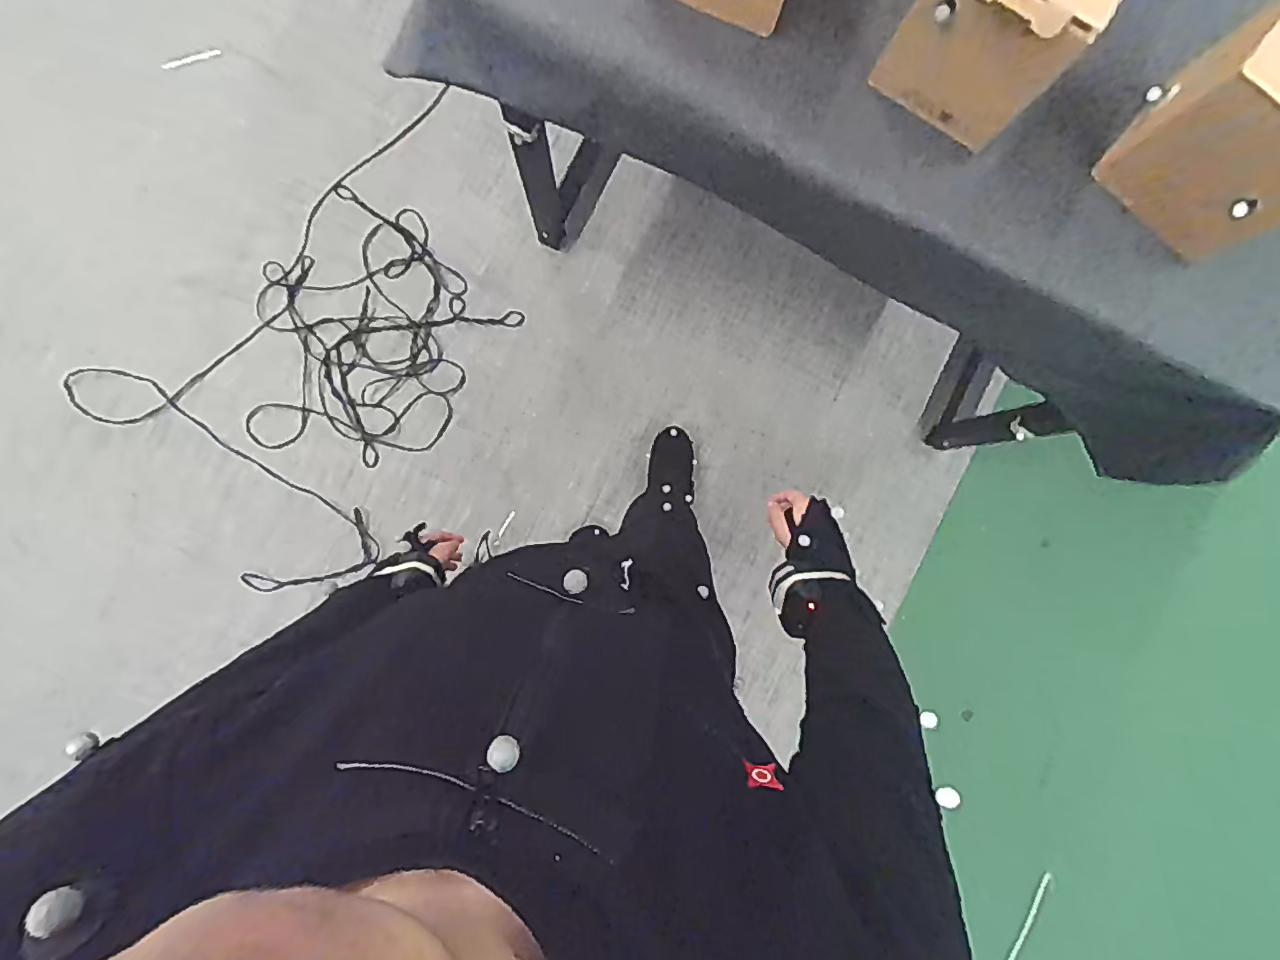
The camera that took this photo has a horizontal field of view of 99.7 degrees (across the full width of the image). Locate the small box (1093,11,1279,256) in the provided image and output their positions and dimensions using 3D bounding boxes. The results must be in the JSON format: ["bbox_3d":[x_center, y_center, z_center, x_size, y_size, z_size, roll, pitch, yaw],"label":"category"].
[{"bbox_3d":[0.692,-0.387,0.615,0.179,0.176,0.168,41,85,0],"label":"small box"}]
